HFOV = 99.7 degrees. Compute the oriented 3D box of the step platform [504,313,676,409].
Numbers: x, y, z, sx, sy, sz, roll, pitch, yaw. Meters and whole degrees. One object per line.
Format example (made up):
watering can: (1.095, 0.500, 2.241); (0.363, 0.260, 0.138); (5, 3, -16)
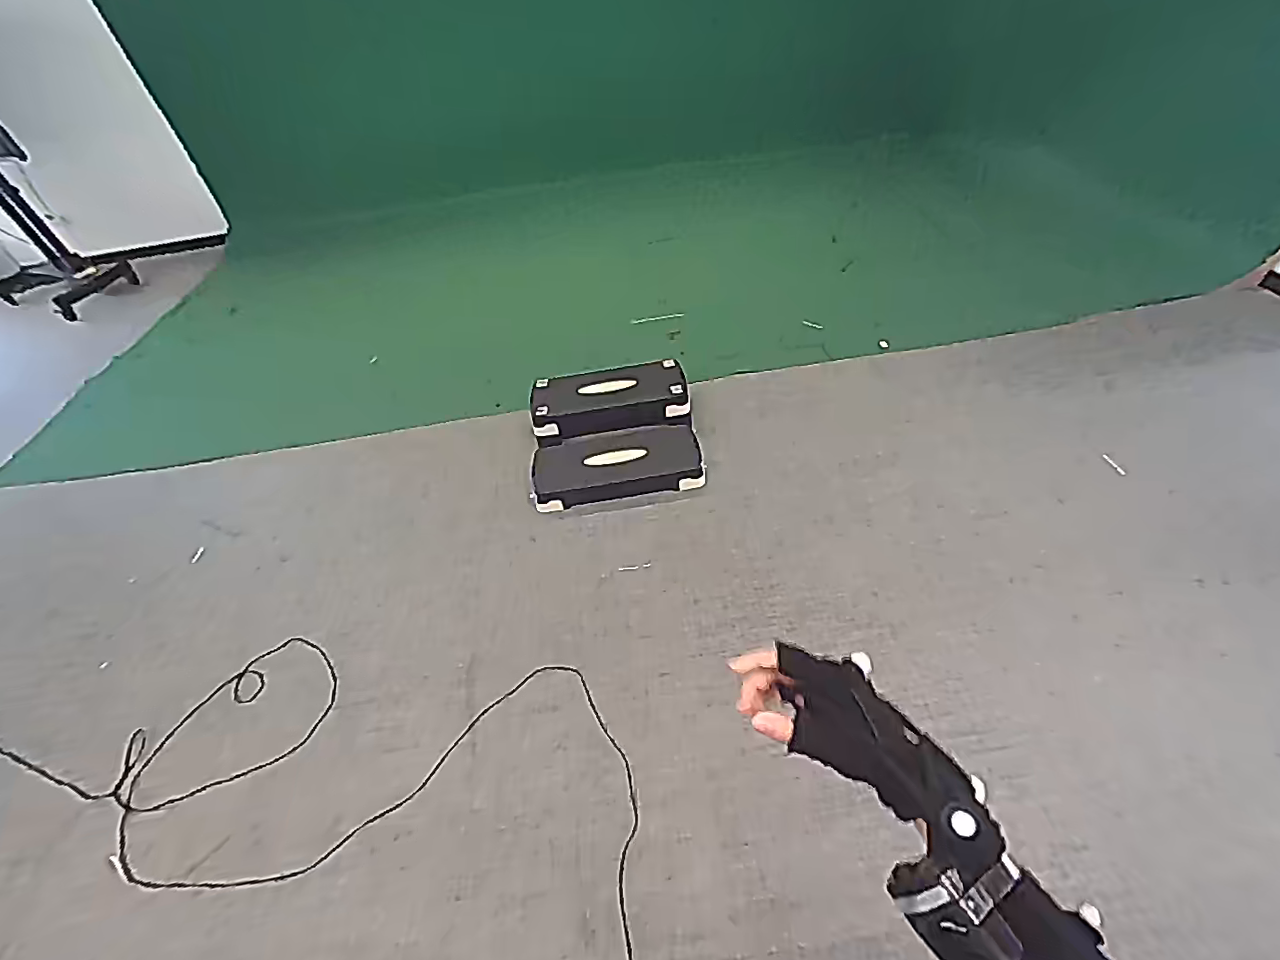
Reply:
step platform: (-0.196, -0.489, 2.217); (0.684, 0.204, 0.286); (-10, 46, 0)
